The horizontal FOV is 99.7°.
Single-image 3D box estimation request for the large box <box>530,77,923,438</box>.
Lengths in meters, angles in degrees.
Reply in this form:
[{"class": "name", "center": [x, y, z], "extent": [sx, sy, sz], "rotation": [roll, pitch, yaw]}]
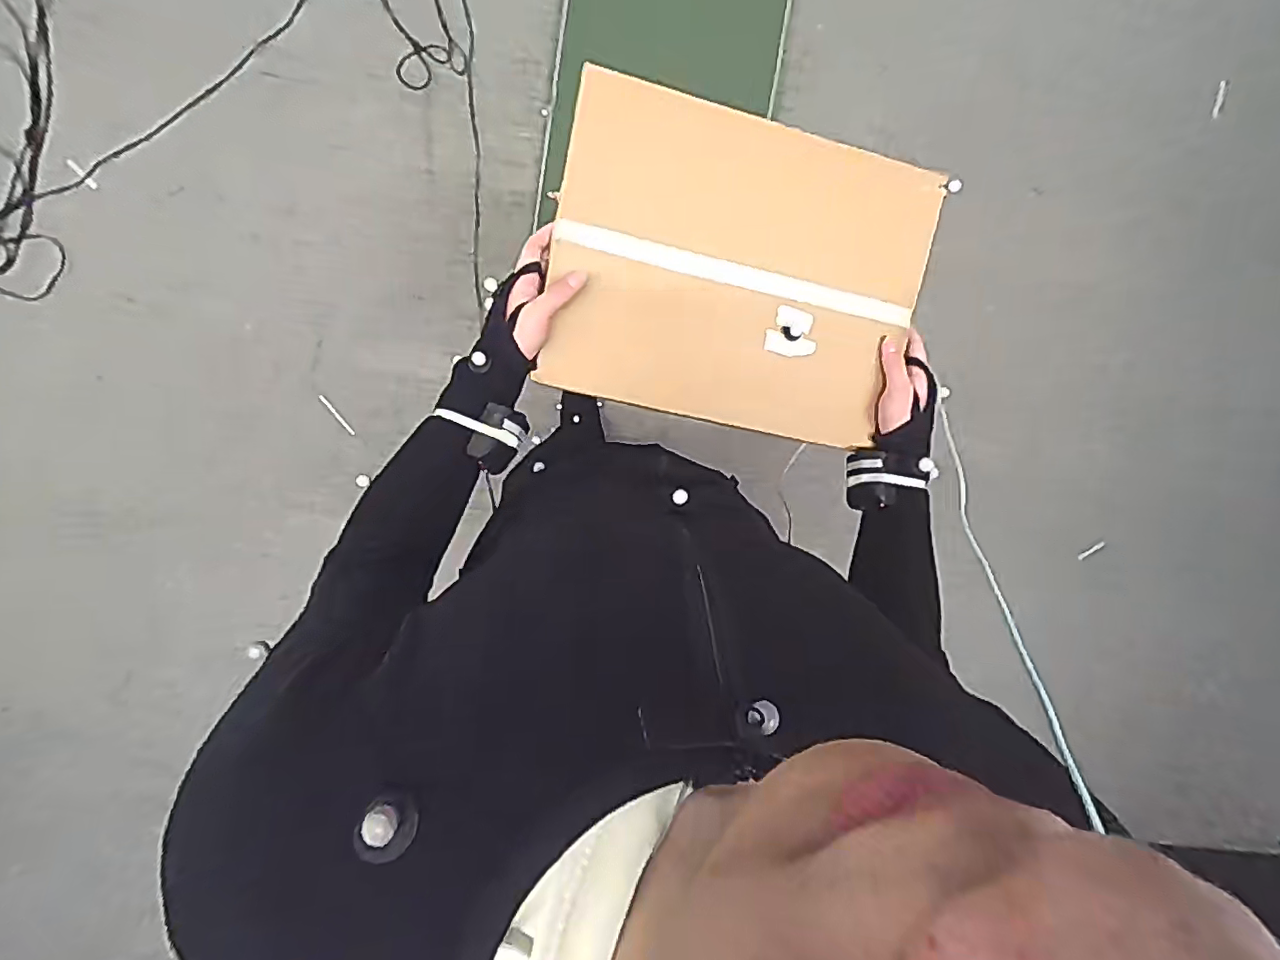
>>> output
[{"class": "large box", "center": [0.077, -0.248, 0.735], "extent": [0.408, 0.320, 0.320], "rotation": [10, 98, -10]}]
